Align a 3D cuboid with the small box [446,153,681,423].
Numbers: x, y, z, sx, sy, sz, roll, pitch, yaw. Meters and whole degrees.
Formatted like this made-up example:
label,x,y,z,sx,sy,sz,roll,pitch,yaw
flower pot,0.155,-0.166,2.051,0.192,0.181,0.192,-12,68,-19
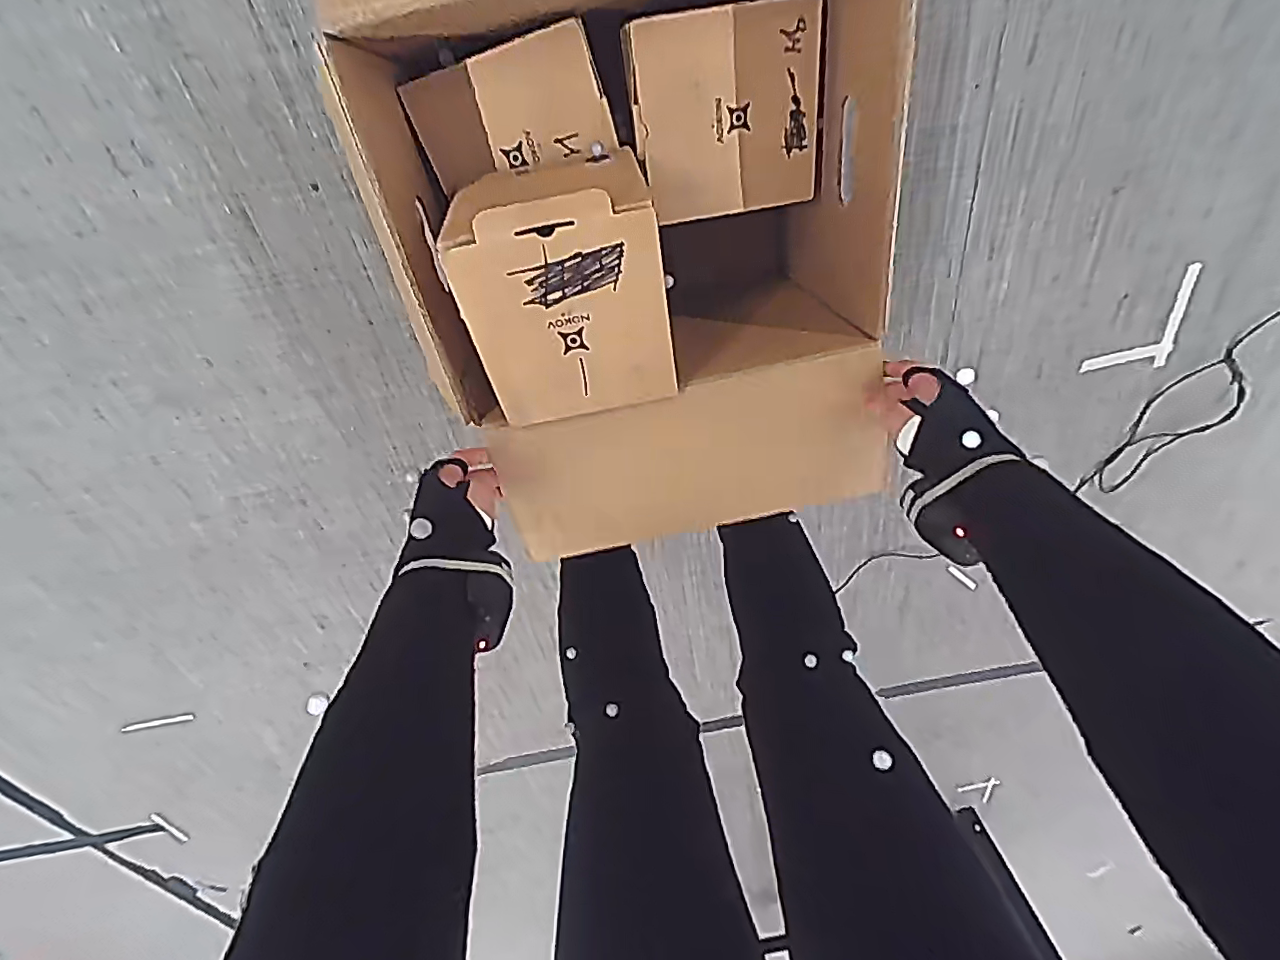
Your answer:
label,x,y,z,sx,sy,sz,roll,pitch,yaw
small box,-0.062,-0.183,0.504,0.168,0.176,0.179,-11,135,1
